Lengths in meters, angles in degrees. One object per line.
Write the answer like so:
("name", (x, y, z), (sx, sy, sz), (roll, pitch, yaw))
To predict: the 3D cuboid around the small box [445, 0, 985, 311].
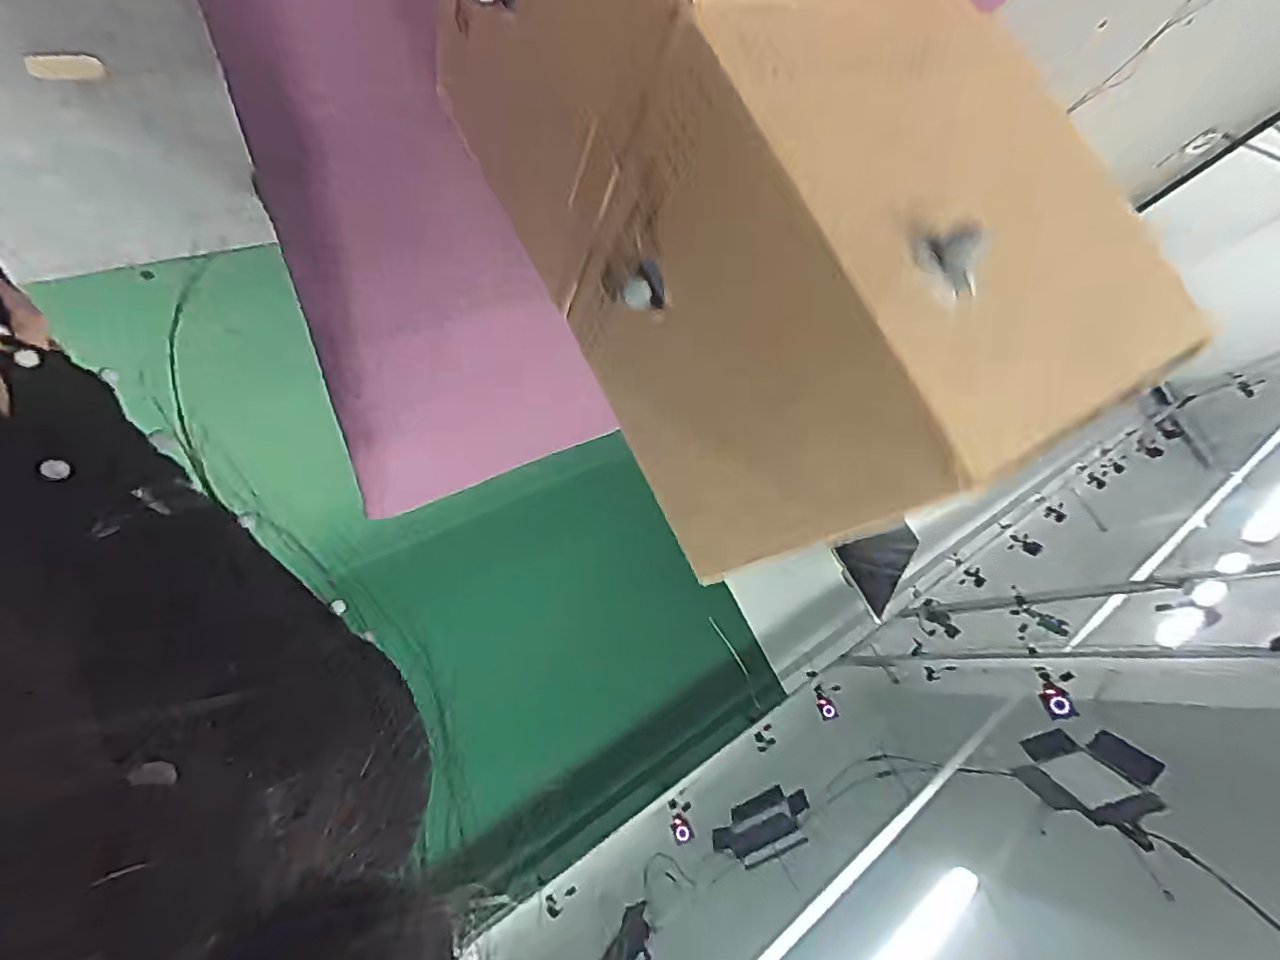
("small box", (0.021, -0.221, 0.281), (0.179, 0.176, 0.168), (-23, 171, -27))
